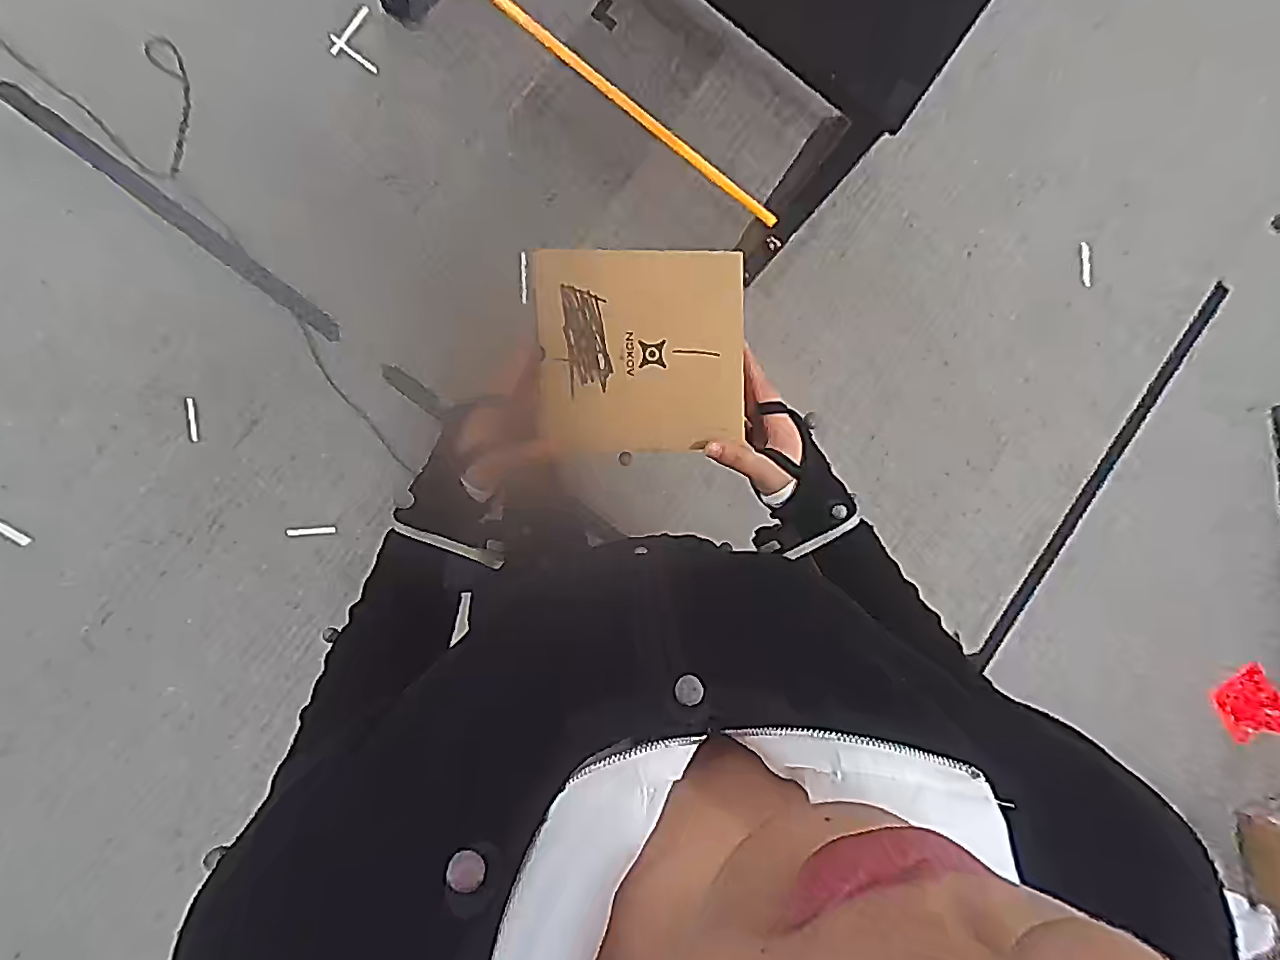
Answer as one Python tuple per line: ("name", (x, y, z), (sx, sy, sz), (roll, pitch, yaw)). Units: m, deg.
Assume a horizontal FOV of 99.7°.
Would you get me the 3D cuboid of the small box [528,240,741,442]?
("small box", (-0.011, -0.120, 0.527), (0.179, 0.176, 0.168), (-2, 96, -7))
